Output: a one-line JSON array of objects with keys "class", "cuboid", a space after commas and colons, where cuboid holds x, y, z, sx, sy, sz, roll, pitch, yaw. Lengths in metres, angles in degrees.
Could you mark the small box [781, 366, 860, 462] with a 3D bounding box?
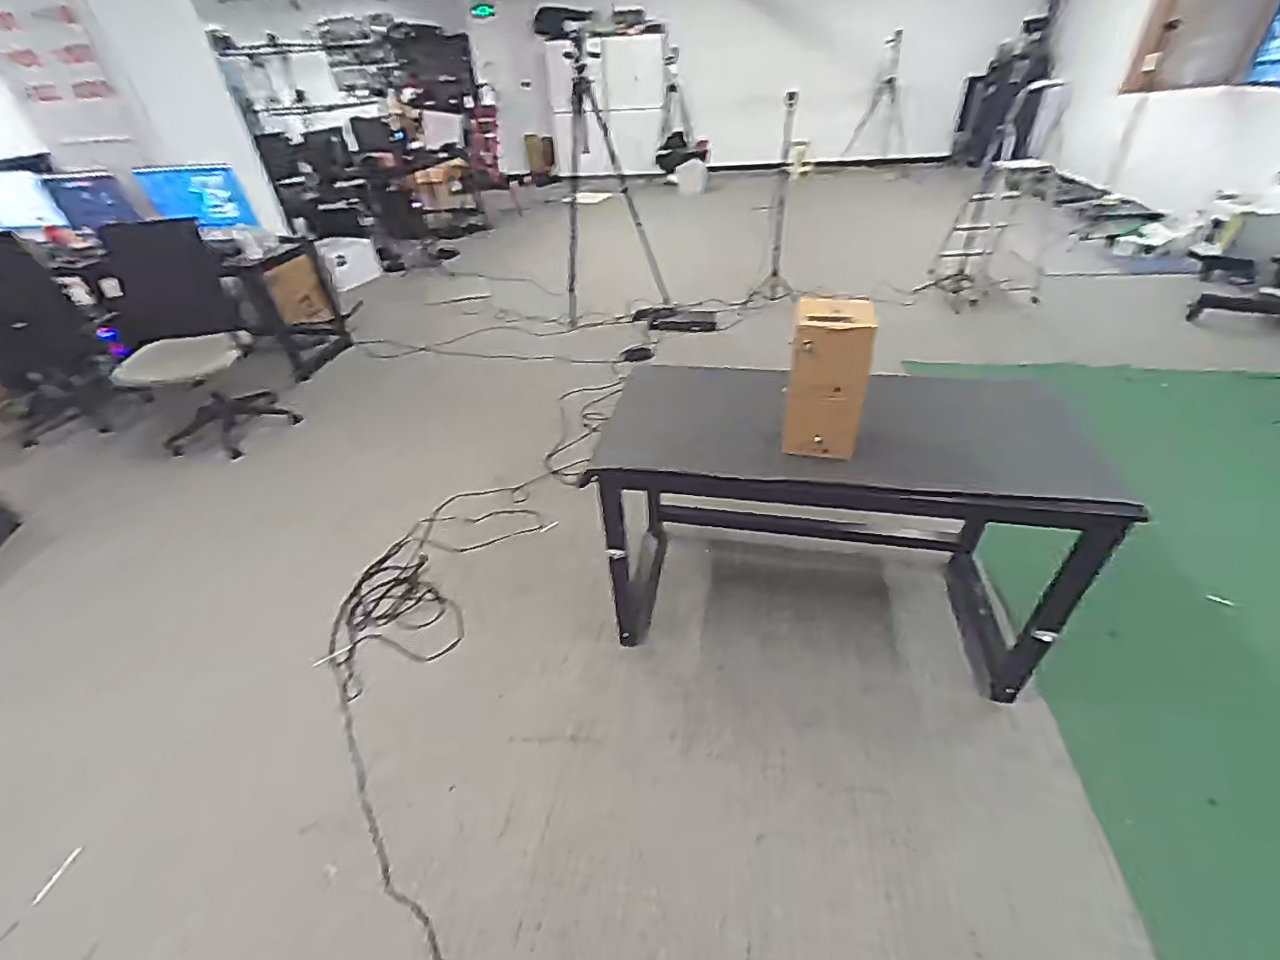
[{"class": "small box", "cuboid": [0.447, -0.167, 1.346, 0.168, 0.176, 0.179, 7, 38, 16]}]
